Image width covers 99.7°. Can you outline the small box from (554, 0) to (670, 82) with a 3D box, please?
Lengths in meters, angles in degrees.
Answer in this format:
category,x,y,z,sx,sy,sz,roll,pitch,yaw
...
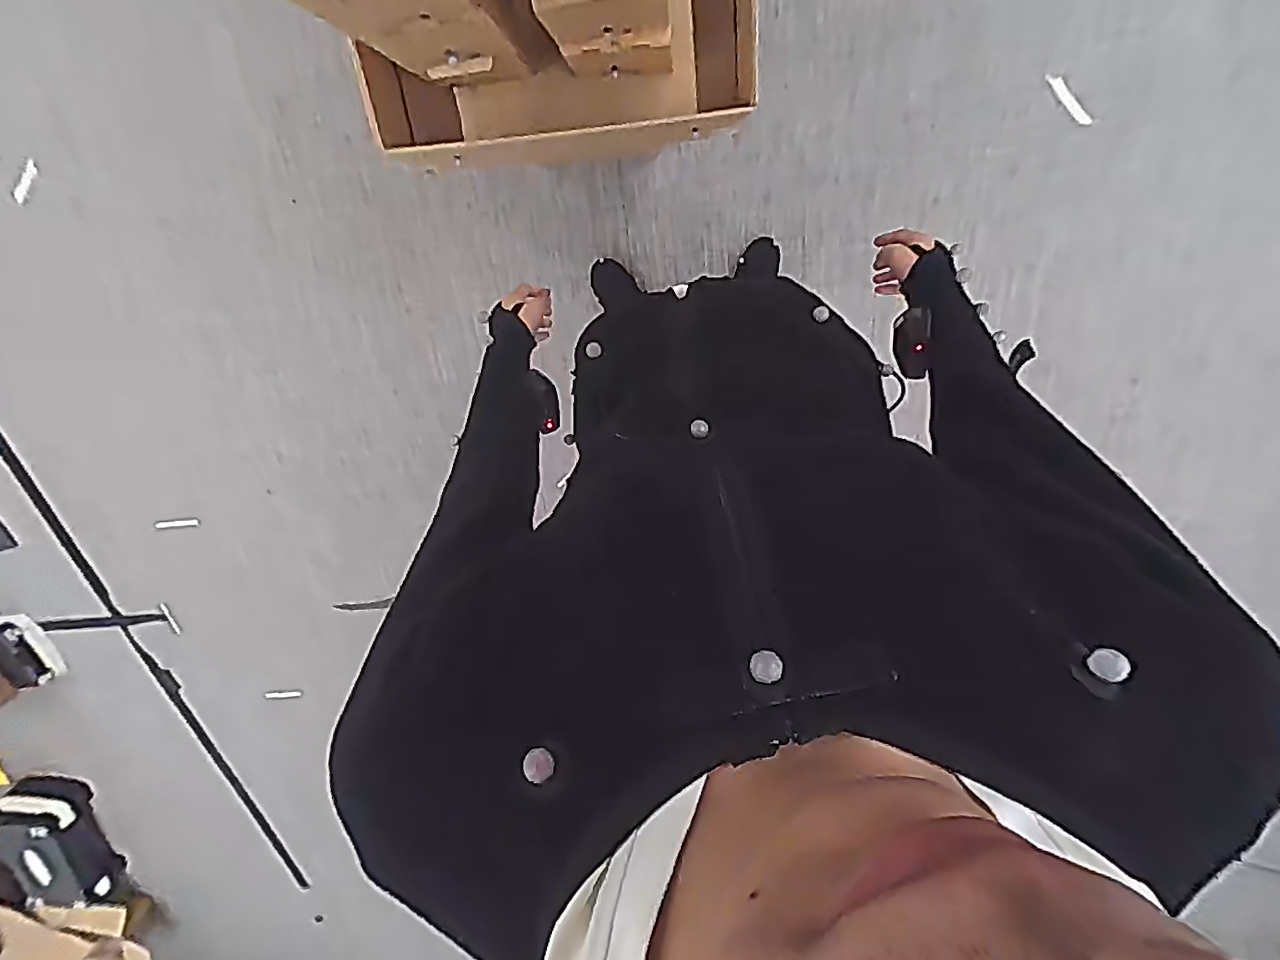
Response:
category,x,y,z,sx,sy,sz,roll,pitch,yaw
small box,-0.039,-0.737,0.825,0.168,0.176,0.179,-2,116,5

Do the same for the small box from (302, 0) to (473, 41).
category,x,y,z,sx,sy,sz,roll,pitch,yaw
small box,-0.288,-0.583,0.538,0.168,0.176,0.179,-6,114,6

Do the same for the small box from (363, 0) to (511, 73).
category,x,y,z,sx,sy,sz,roll,pitch,yaw
small box,-0.278,-0.655,0.687,0.168,0.176,0.179,-7,116,5
